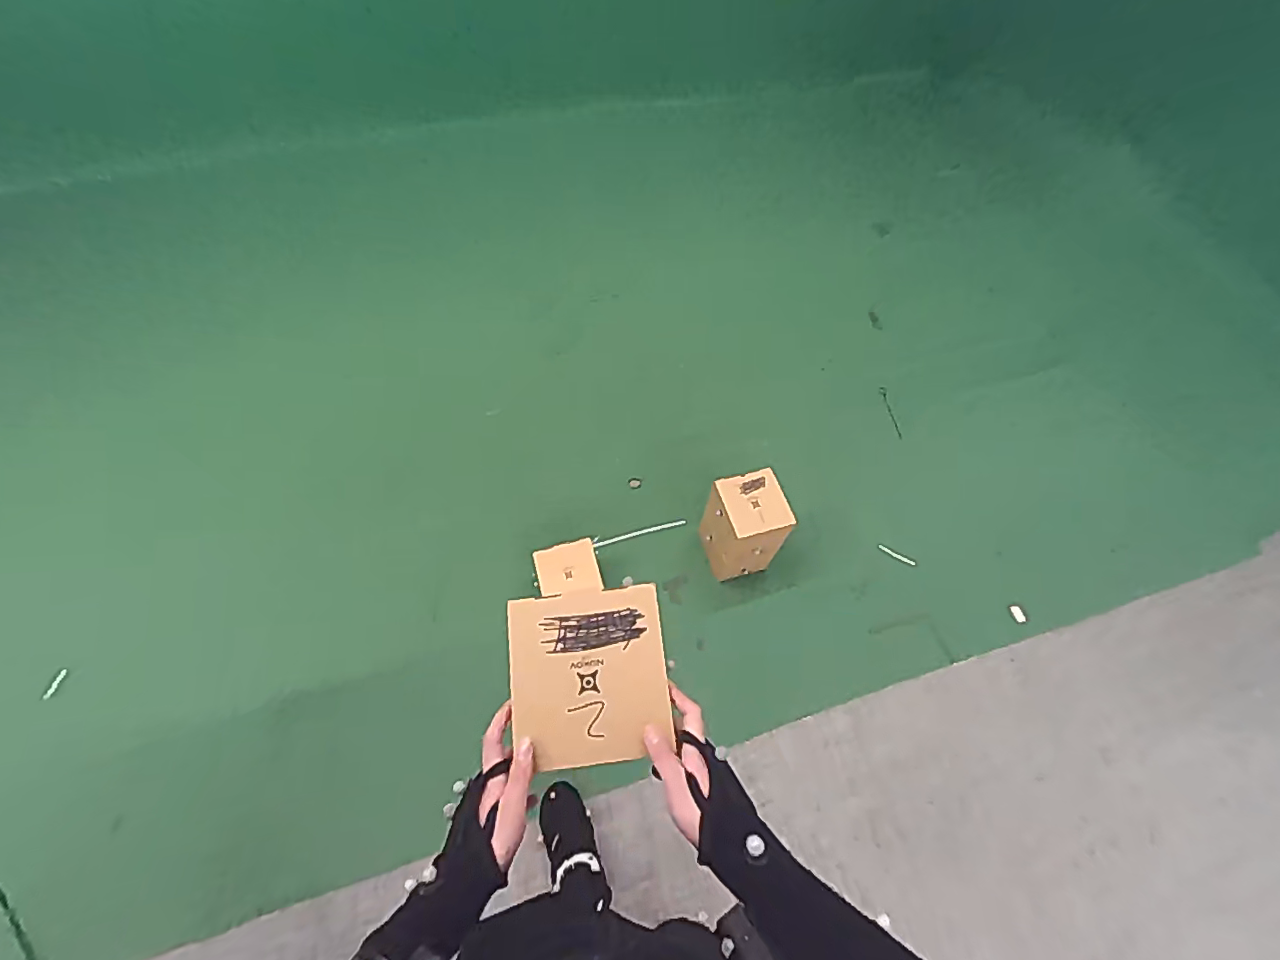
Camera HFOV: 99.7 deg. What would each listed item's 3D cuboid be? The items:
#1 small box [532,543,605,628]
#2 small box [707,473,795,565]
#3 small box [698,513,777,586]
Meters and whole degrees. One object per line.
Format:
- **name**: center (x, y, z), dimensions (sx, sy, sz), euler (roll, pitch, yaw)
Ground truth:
- **small box**: center (-0.198, 0.306, 1.531), dimensions (0.168, 0.176, 0.179), euler (-14, 61, -11)
- **small box**: center (0.293, 0.110, 1.478), dimensions (0.168, 0.176, 0.179), euler (-13, 62, -11)
- **small box**: center (0.283, 0.193, 1.619), dimensions (0.168, 0.176, 0.179), euler (-13, 61, -10)
